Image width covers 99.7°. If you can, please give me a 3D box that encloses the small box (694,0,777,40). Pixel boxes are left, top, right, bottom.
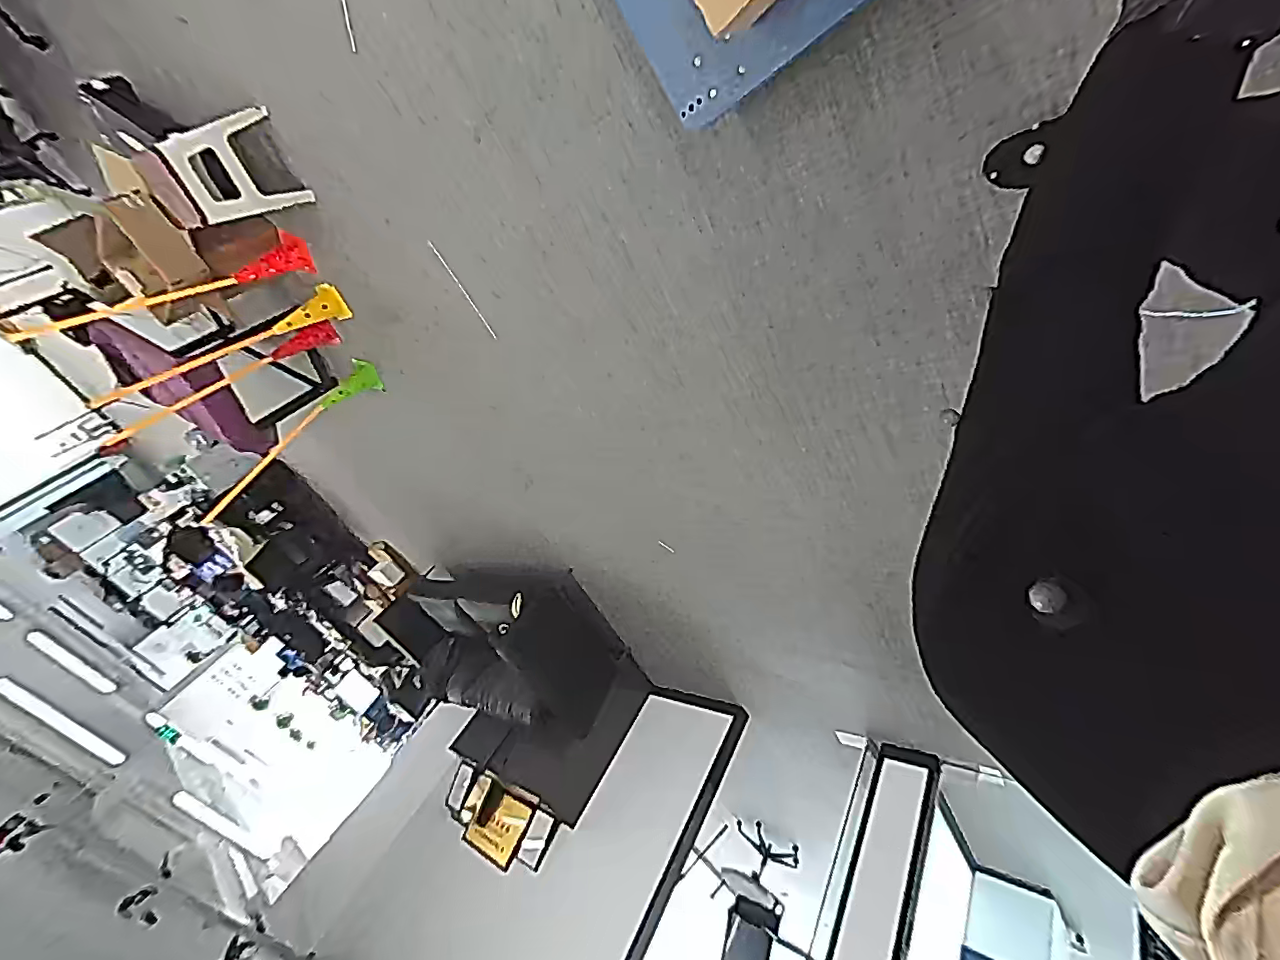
[{"bbox_3d":[0.188,-0.943,0.962,0.179,0.176,0.168,-16,117,48],"label":"small box"}]
